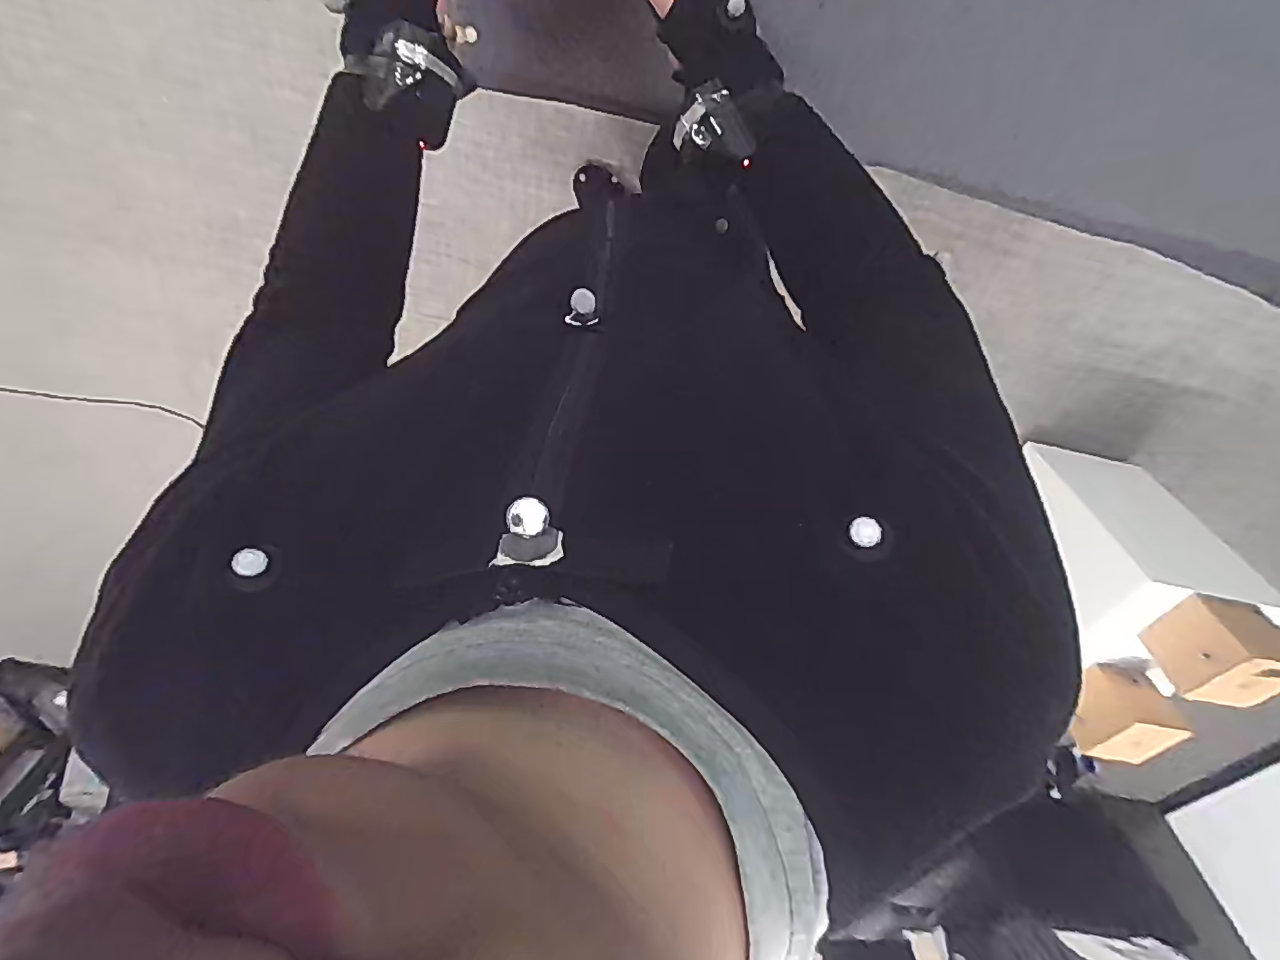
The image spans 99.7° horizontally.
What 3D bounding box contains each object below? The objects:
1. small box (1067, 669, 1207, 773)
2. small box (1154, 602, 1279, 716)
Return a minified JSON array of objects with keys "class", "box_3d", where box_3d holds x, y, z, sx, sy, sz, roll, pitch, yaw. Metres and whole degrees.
[{"class":"small box","box_3d":[1.255,0.617,1.388,0.168,0.176,0.179,13,127,-7]},{"class":"small box","box_3d":[1.323,0.395,1.201,0.168,0.176,0.179,10,131,-4]}]
